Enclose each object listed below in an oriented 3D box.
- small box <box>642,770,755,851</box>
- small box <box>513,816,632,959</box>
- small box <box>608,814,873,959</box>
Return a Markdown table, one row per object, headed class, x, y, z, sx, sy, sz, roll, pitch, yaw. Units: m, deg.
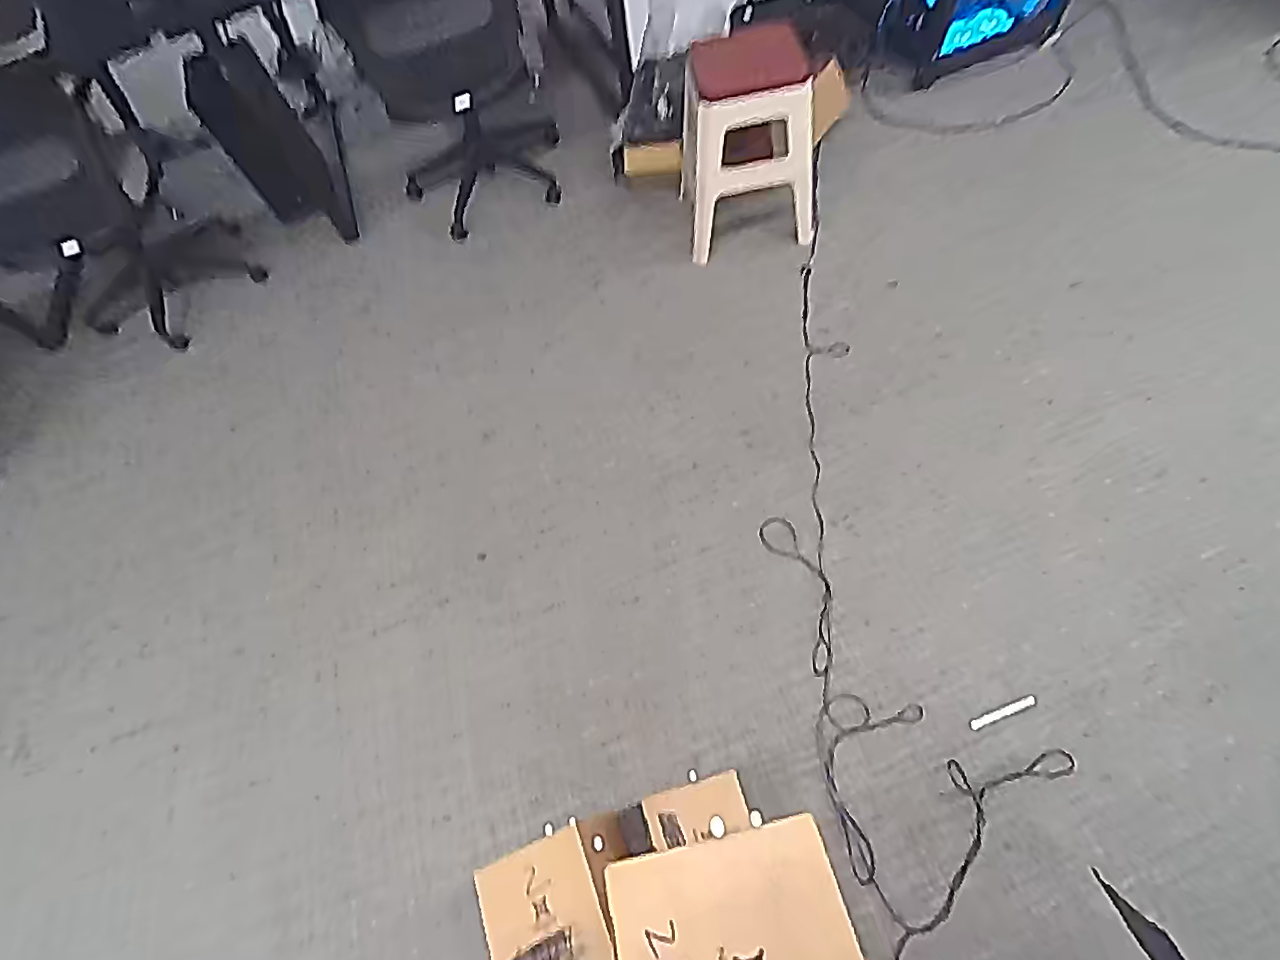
| class | x | y | z | sx | sy | sz | roll | pitch | yaw |
| --- | --- | --- | --- | --- | --- | --- | --- | --- | --- |
| small box | 0.117 | 0.636 | 0.971 | 0.179 | 0.176 | 0.168 | -17 | 61 | -1 |
| small box | -0.099 | 0.727 | 0.962 | 0.168 | 0.176 | 0.179 | -29 | 62 | -6 |
| small box | 0.081 | 0.388 | 0.436 | 0.179 | 0.176 | 0.168 | -13 | 52 | -2 |
